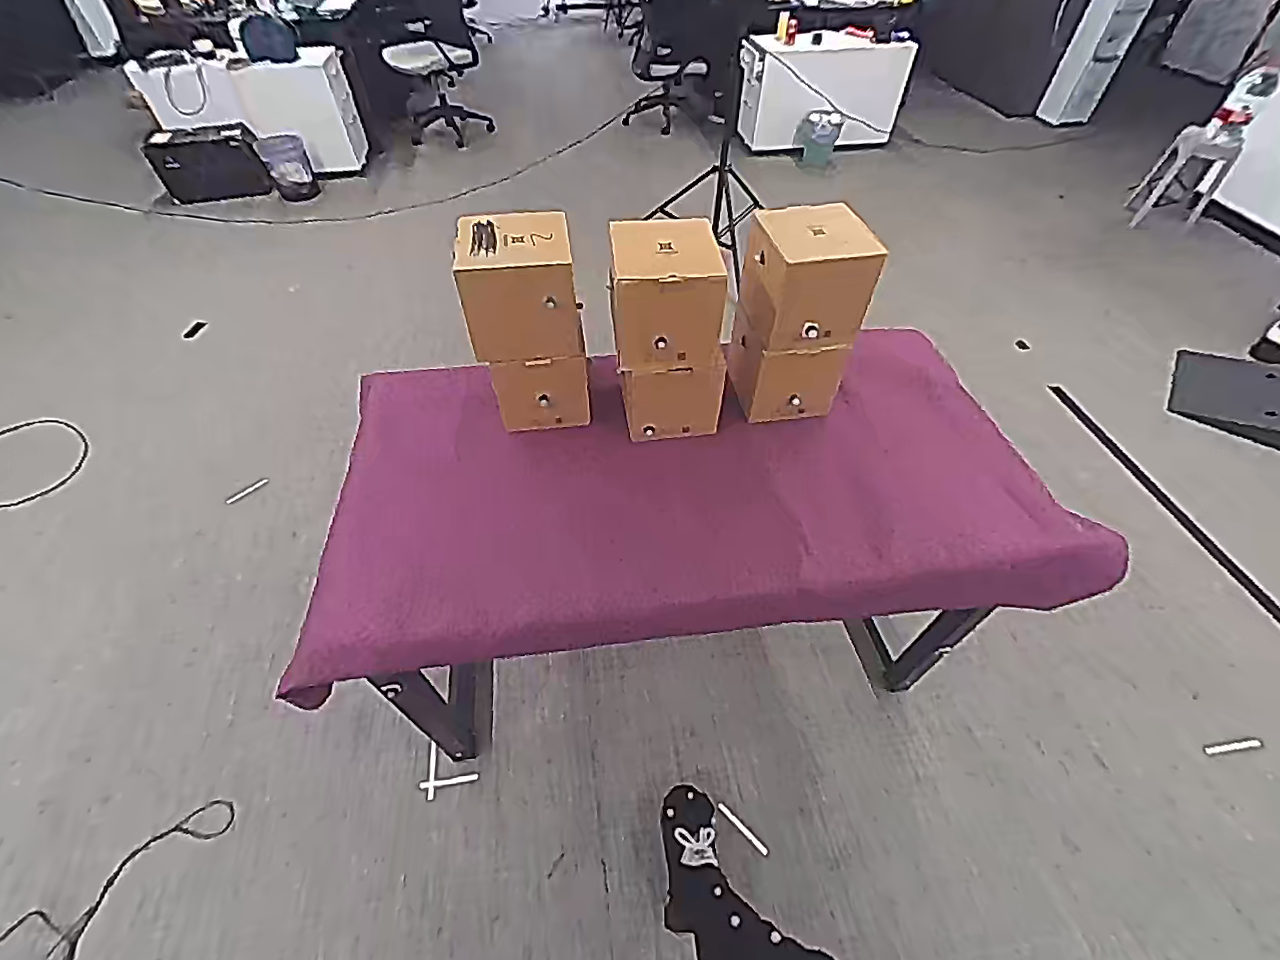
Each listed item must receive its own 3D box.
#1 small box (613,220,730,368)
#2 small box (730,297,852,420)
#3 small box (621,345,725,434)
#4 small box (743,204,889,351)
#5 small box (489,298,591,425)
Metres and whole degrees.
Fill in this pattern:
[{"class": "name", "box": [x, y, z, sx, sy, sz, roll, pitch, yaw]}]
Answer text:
[{"class": "small box", "box": [0.041, -0.305, 0.891, 0.168, 0.176, 0.179, -4, 52, -4]}, {"class": "small box", "box": [0.279, -0.239, 1.050, 0.168, 0.176, 0.179, -6, 52, -5]}, {"class": "small box", "box": [0.054, -0.199, 1.015, 0.168, 0.176, 0.179, -6, 51, -6]}, {"class": "small box", "box": [0.286, -0.346, 0.928, 0.168, 0.176, 0.179, -9, 52, -7]}, {"class": "small box", "box": [-0.184, -0.217, 1.026, 0.168, 0.176, 0.179, -6, 53, -5]}]
